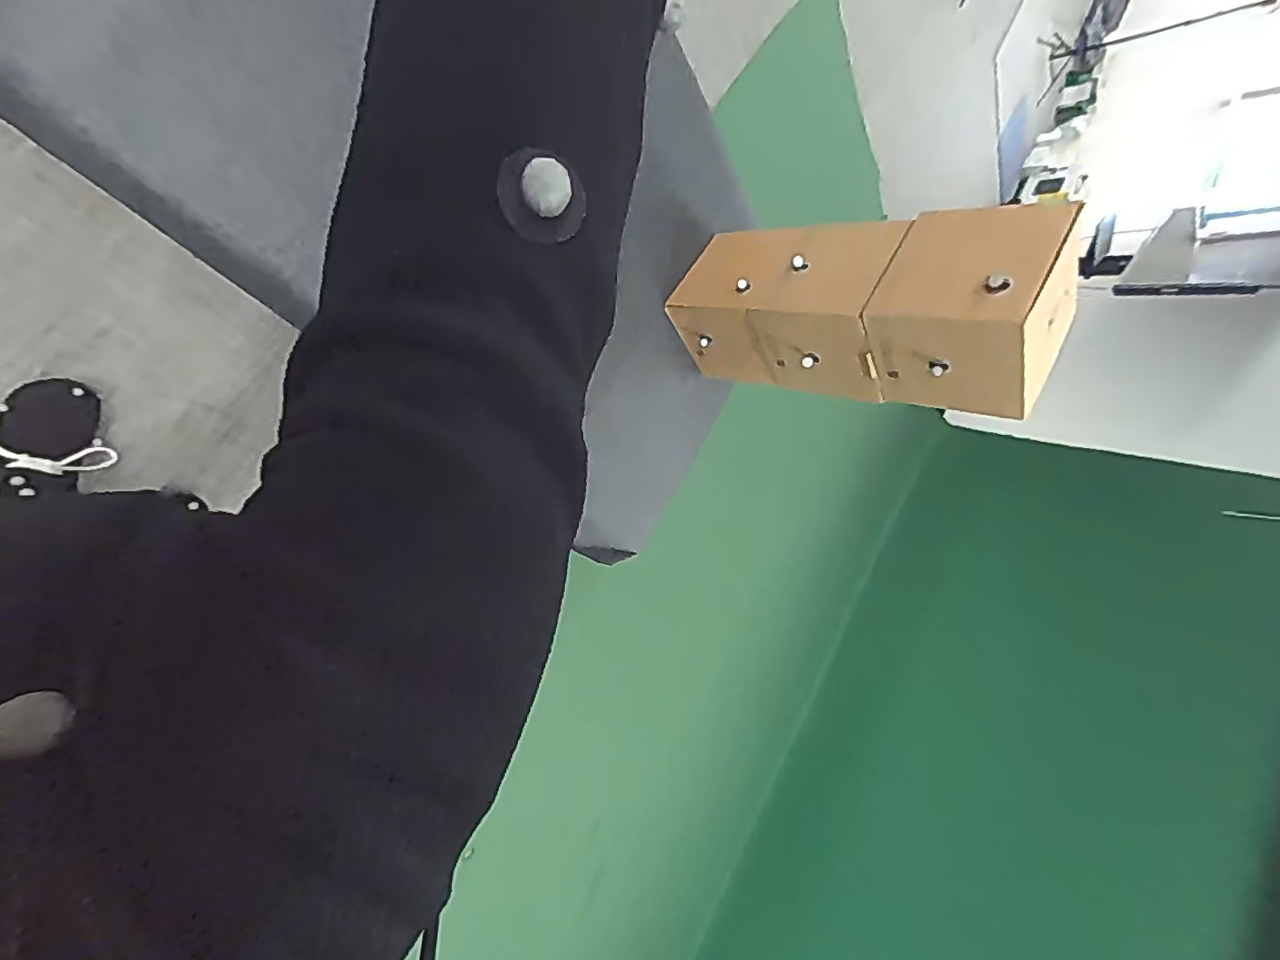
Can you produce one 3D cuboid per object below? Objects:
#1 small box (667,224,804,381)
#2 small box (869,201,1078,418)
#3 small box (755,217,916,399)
[{"bbox_3d":[0.174,-0.291,0.885,0.179,0.176,0.168,-56,137,-14],"label":"small box"},{"bbox_3d":[0.396,-0.205,0.658,0.179,0.176,0.168,-57,137,-13],"label":"small box"},{"bbox_3d":[0.284,-0.245,0.773,0.179,0.176,0.168,-55,136,-14],"label":"small box"}]
